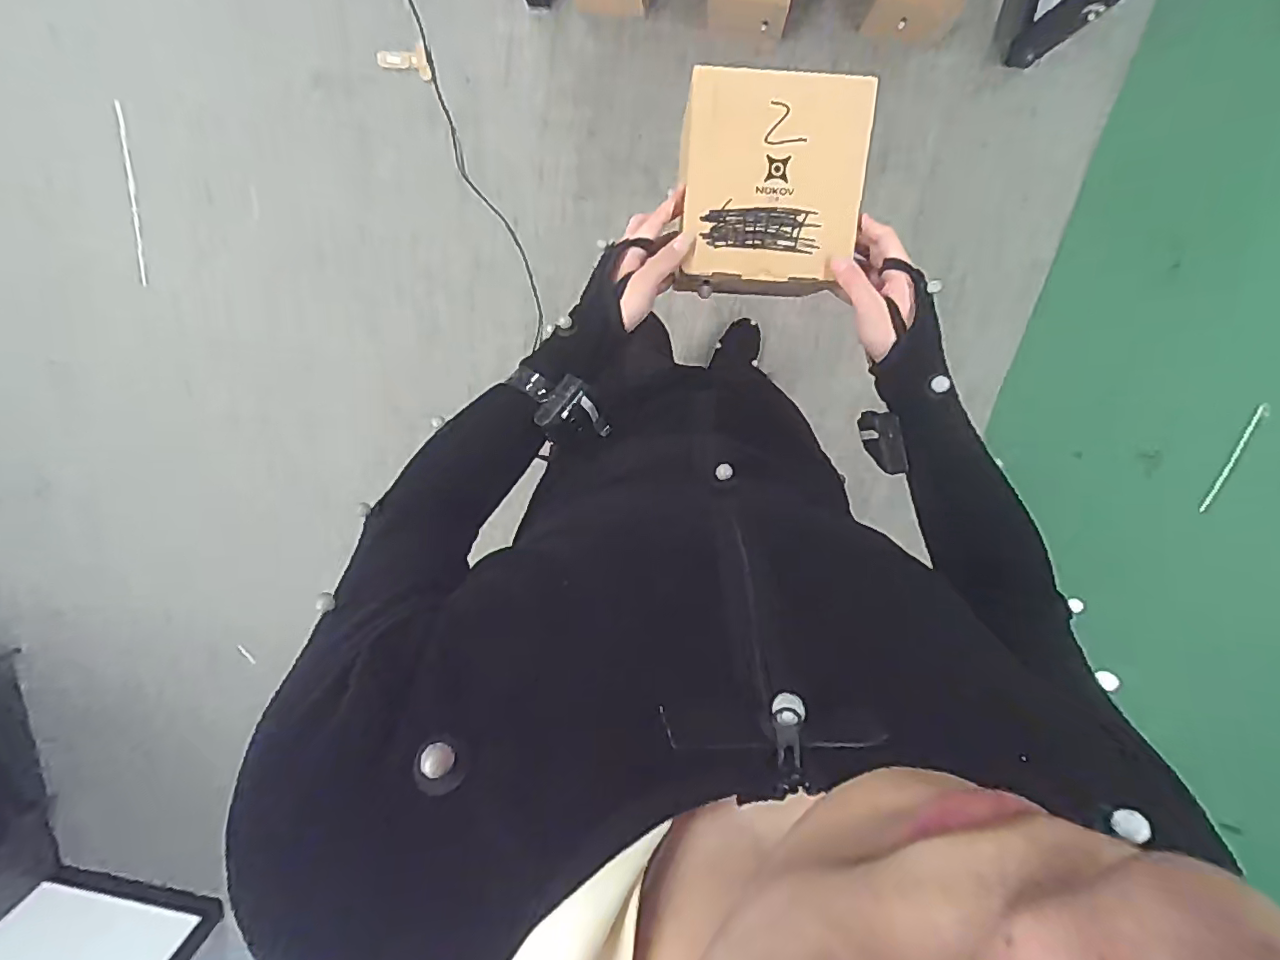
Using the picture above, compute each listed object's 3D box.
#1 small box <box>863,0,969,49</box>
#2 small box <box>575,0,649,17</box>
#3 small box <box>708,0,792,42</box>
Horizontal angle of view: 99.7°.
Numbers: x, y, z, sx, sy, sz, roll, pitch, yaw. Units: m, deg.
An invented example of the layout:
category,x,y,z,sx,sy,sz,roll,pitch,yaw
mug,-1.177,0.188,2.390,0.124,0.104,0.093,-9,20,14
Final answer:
category,x,y,z,sx,sy,sz,roll,pitch,yaw
small box,0.599,-1.059,1.151,0.179,0.176,0.168,13,109,3
small box,-0.067,-1.168,1.195,0.179,0.176,0.168,10,109,3
small box,0.250,-1.096,1.181,0.179,0.176,0.168,11,108,4
